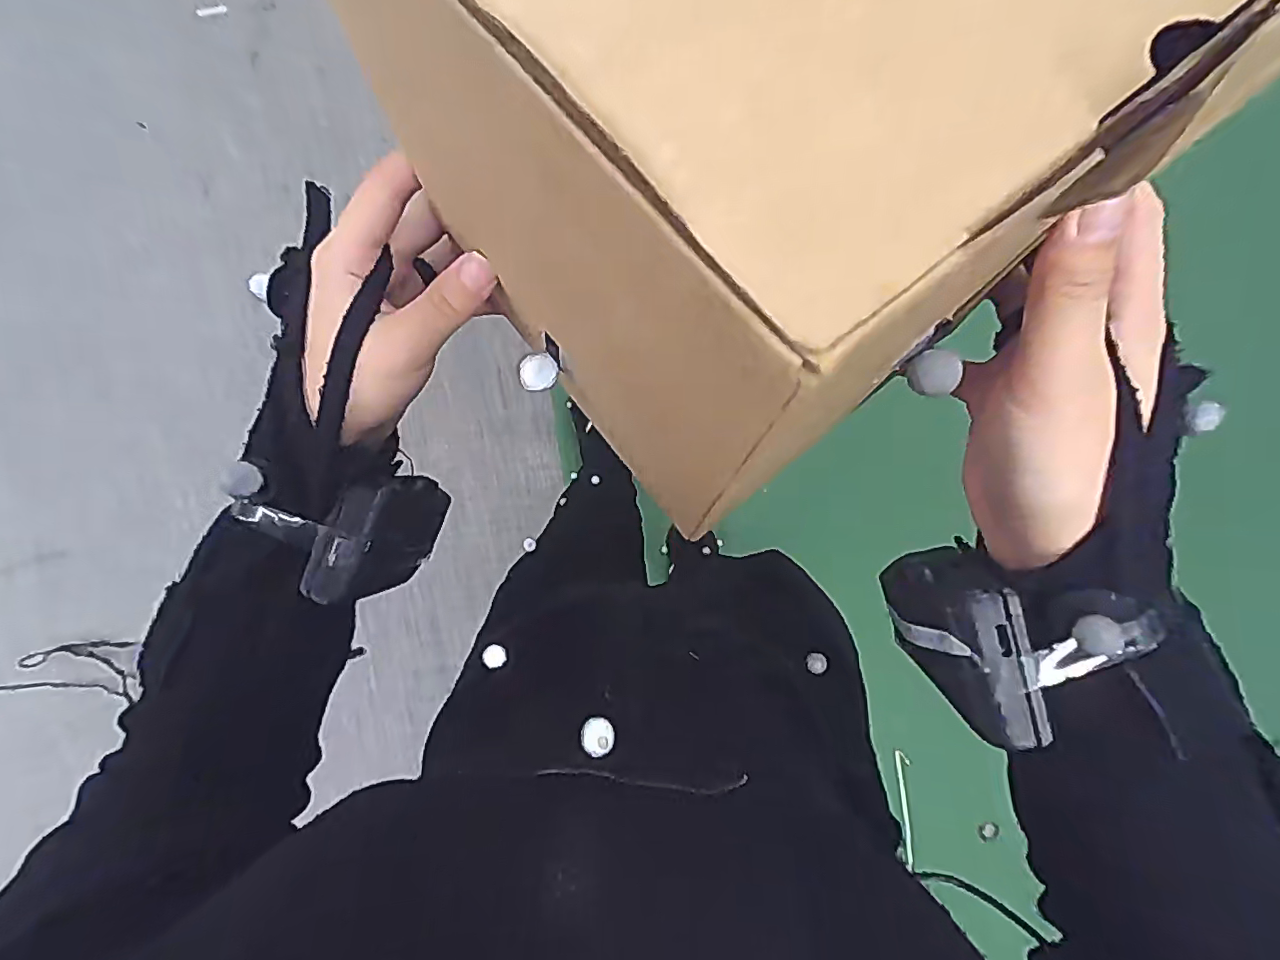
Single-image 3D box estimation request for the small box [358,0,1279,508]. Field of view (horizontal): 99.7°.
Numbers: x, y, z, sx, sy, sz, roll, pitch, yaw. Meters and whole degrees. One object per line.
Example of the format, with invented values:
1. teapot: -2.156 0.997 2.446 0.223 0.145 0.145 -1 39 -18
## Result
1. small box: 0.038 -0.105 0.185 0.168 0.176 0.179 -36 78 -8
